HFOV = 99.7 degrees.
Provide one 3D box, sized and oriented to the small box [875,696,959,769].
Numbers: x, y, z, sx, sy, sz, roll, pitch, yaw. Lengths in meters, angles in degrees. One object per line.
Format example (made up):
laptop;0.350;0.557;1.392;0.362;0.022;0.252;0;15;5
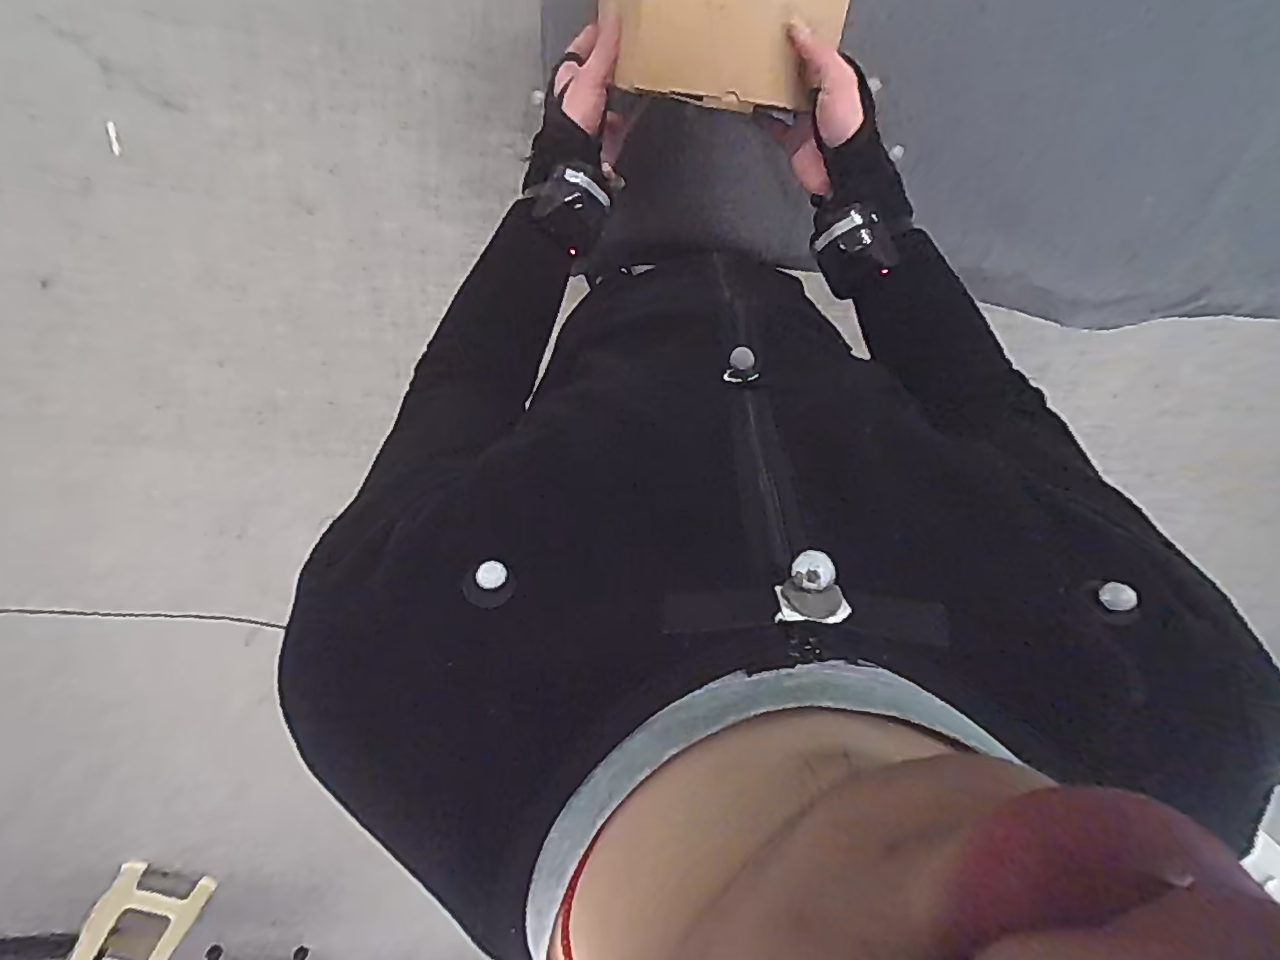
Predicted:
small box;1.001;0.915;1.969;0.179;0.176;0.168;14;112;-13

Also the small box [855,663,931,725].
small box;0.982;0.843;2.116;0.179;0.176;0.168;13;112;-12
